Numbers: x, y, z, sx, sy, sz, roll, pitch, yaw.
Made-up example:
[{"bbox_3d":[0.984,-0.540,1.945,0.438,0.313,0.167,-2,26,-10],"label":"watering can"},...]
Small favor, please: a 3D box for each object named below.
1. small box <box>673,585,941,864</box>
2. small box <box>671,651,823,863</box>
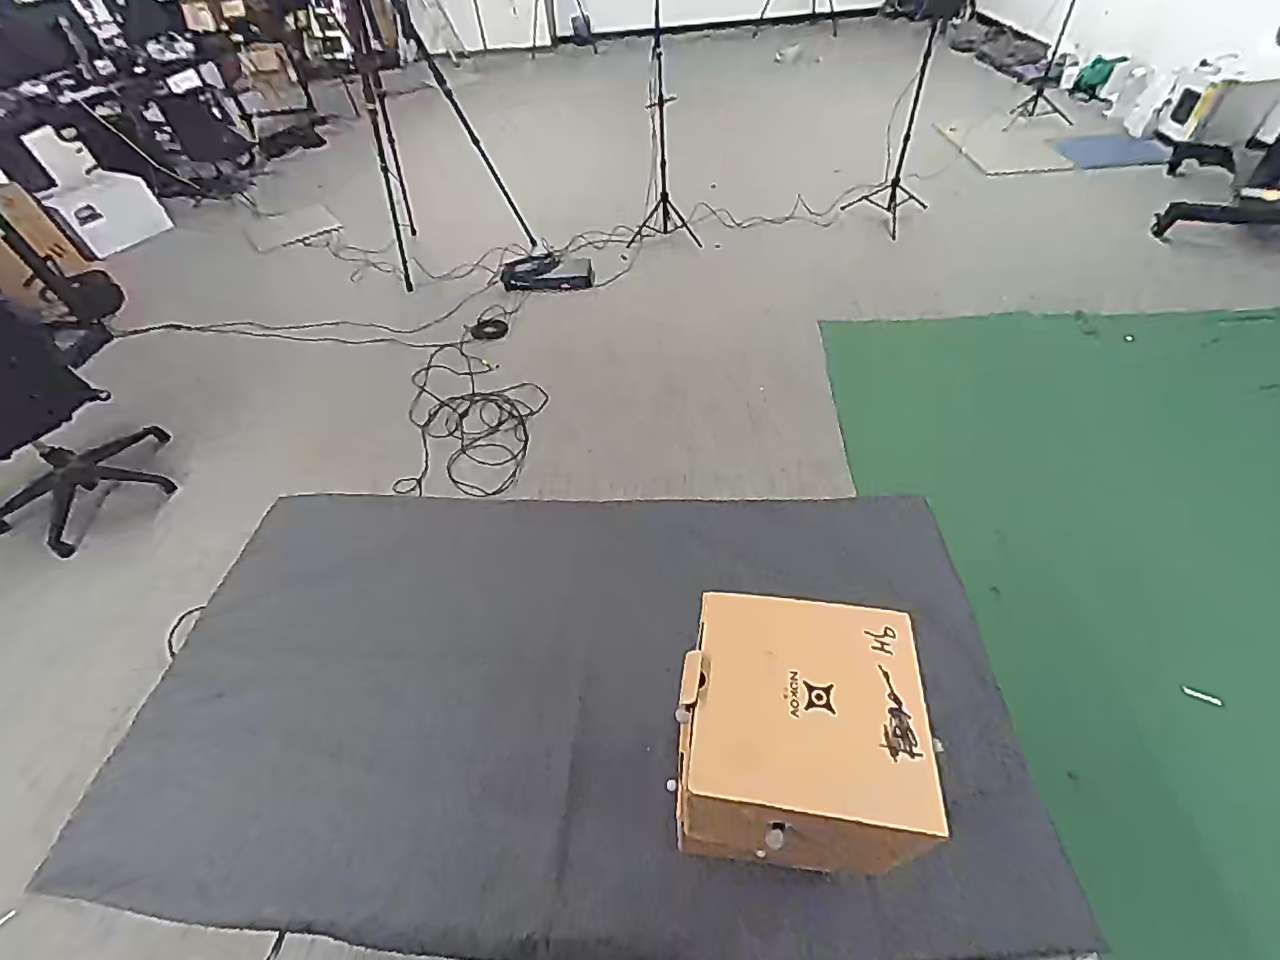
[{"bbox_3d":[0.128,0.211,0.467,0.179,0.176,0.168,4,49,10],"label":"small box"},{"bbox_3d":[0.130,0.309,0.601,0.179,0.176,0.168,3,49,7],"label":"small box"}]
